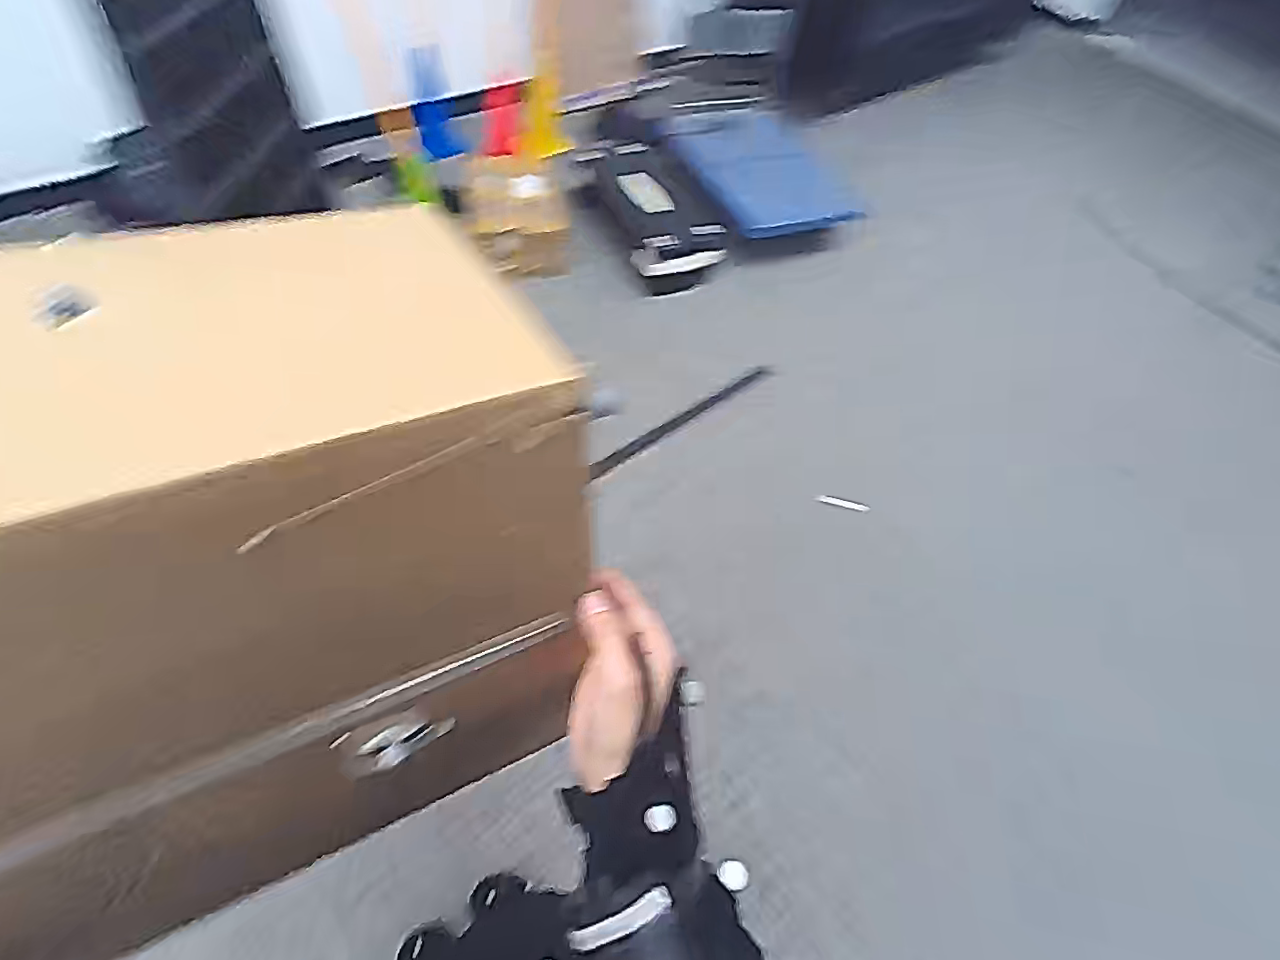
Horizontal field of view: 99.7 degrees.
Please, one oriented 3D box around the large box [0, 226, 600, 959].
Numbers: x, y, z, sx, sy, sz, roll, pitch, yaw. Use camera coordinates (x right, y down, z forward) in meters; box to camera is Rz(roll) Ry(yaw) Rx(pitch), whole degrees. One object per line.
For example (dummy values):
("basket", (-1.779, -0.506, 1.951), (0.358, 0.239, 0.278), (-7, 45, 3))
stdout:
("large box", (-0.279, 0.048, 0.373), (0.408, 0.320, 0.320), (-19, 46, -21))
